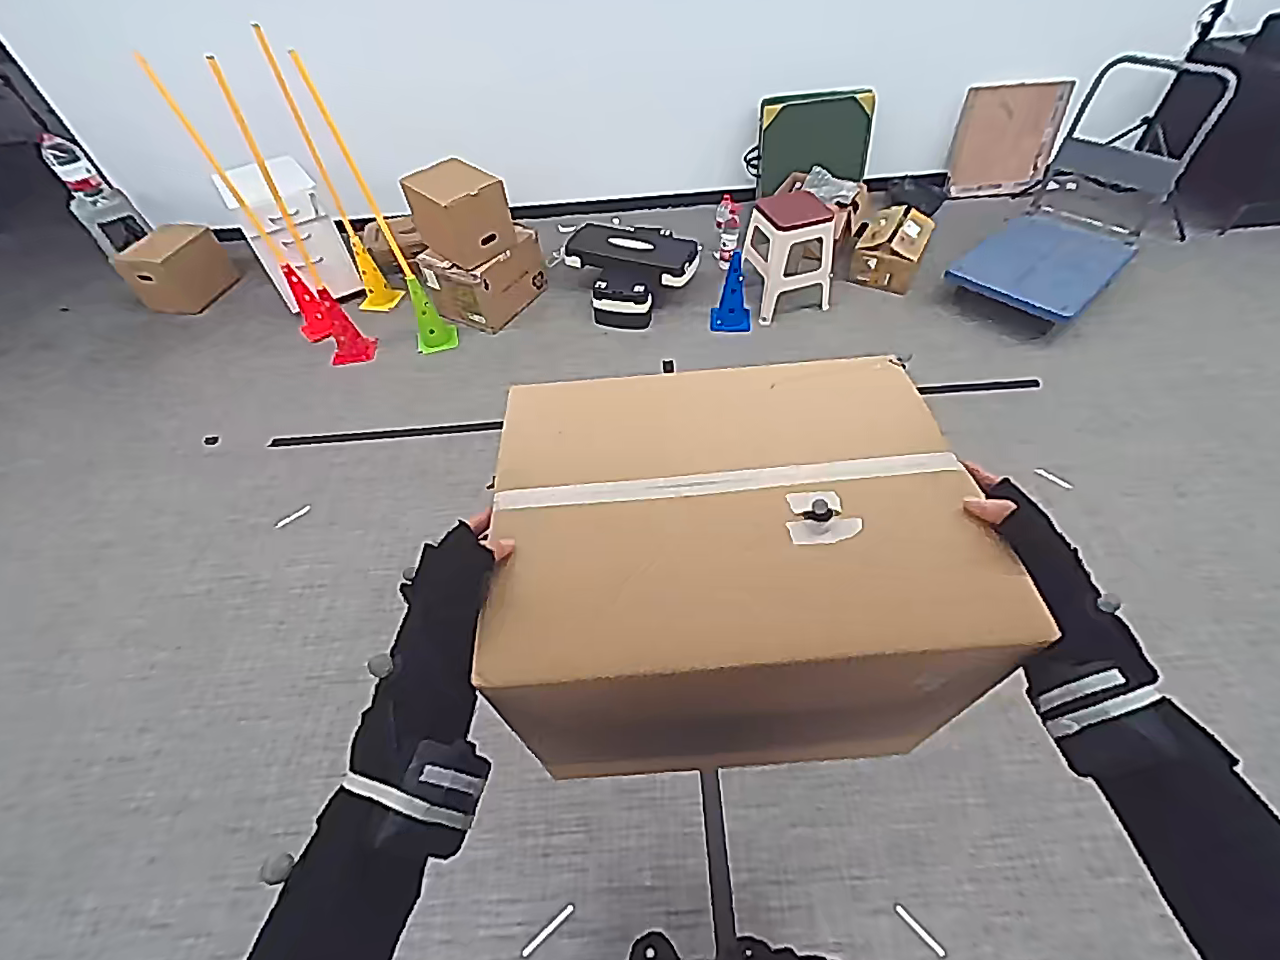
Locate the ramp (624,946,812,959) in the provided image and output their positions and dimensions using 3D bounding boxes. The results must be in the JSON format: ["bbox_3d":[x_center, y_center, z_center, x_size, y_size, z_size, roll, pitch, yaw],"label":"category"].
[{"bbox_3d":[0.143,1.409,0.866,0.509,0.206,0.991,-5,51,-1],"label":"ramp"}]

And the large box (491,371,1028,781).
[{"bbox_3d":[0.083,0.112,0.598,0.408,0.320,0.320,-5,50,0],"label":"large box"}]
